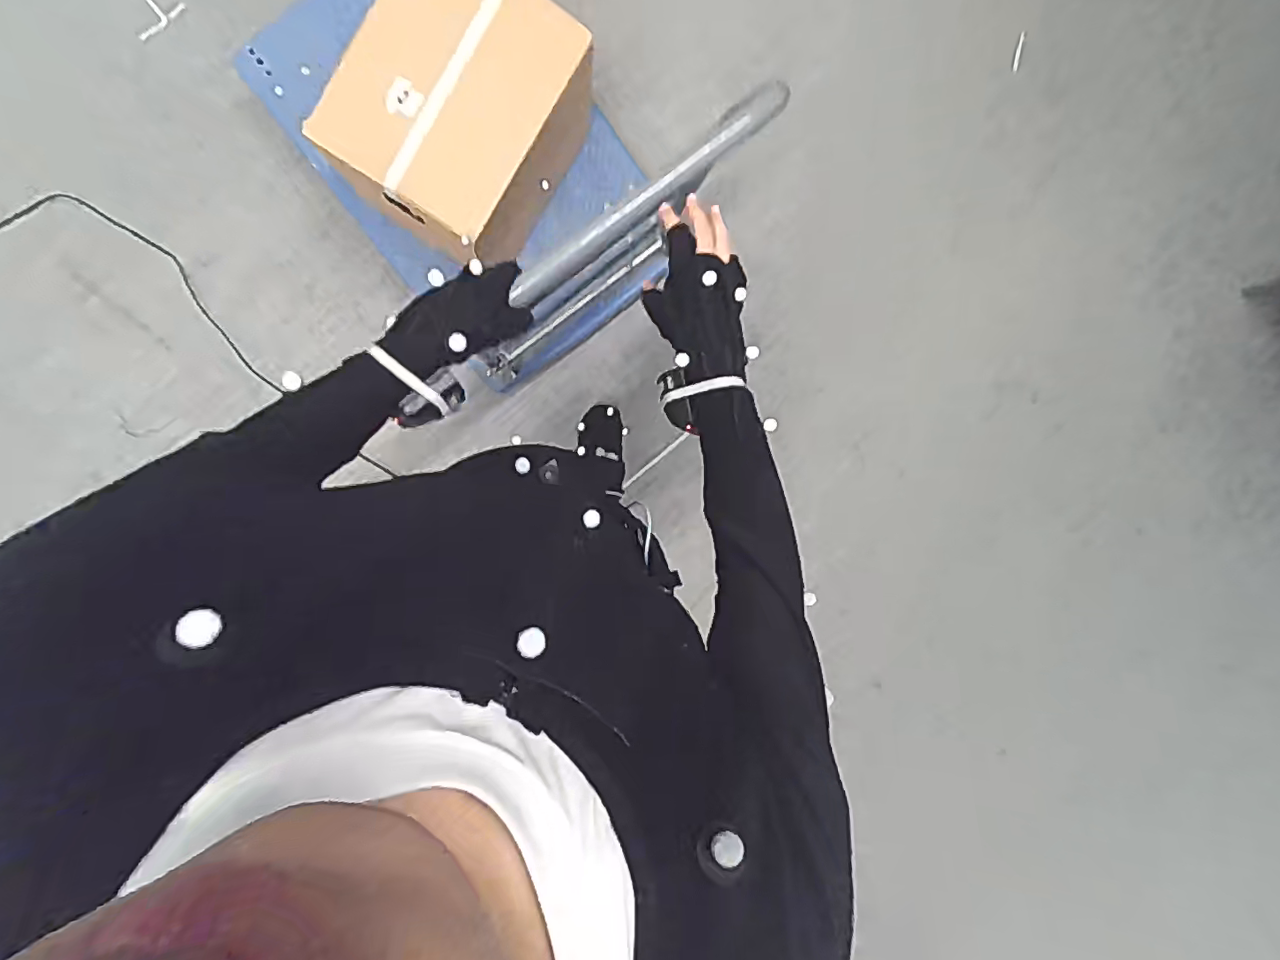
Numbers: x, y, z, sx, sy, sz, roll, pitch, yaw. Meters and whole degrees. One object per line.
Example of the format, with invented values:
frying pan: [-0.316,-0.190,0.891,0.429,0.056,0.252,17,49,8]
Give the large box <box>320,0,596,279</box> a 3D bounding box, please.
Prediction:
large box: [-0.316,-0.676,1.045,0.320,0.320,0.408,31,93,-9]
